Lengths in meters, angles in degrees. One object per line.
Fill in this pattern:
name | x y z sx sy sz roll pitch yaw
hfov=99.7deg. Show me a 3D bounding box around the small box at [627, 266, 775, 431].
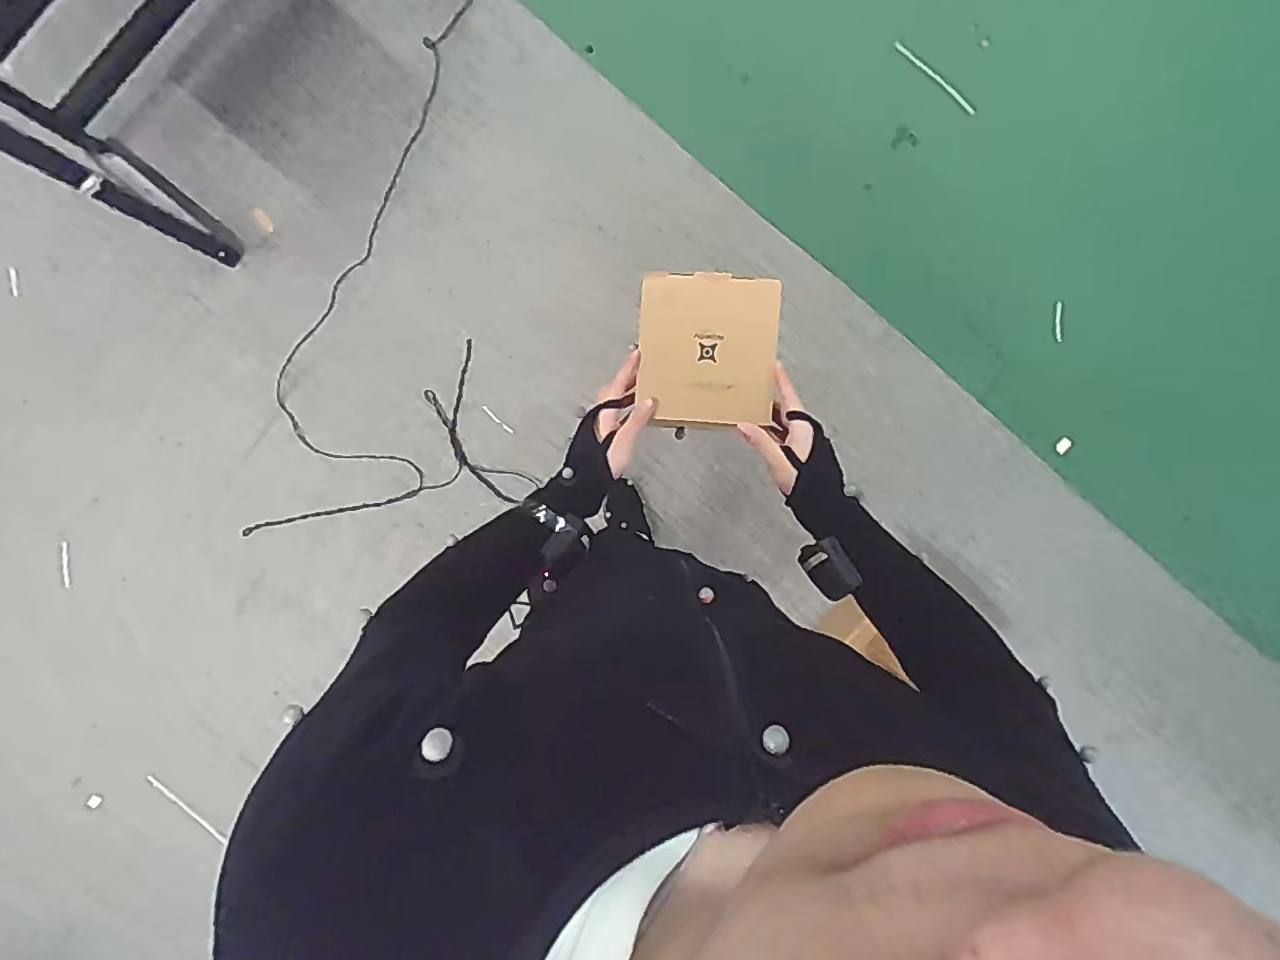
small box | 0.072 -0.162 0.717 0.168 0.176 0.179 4 93 1
